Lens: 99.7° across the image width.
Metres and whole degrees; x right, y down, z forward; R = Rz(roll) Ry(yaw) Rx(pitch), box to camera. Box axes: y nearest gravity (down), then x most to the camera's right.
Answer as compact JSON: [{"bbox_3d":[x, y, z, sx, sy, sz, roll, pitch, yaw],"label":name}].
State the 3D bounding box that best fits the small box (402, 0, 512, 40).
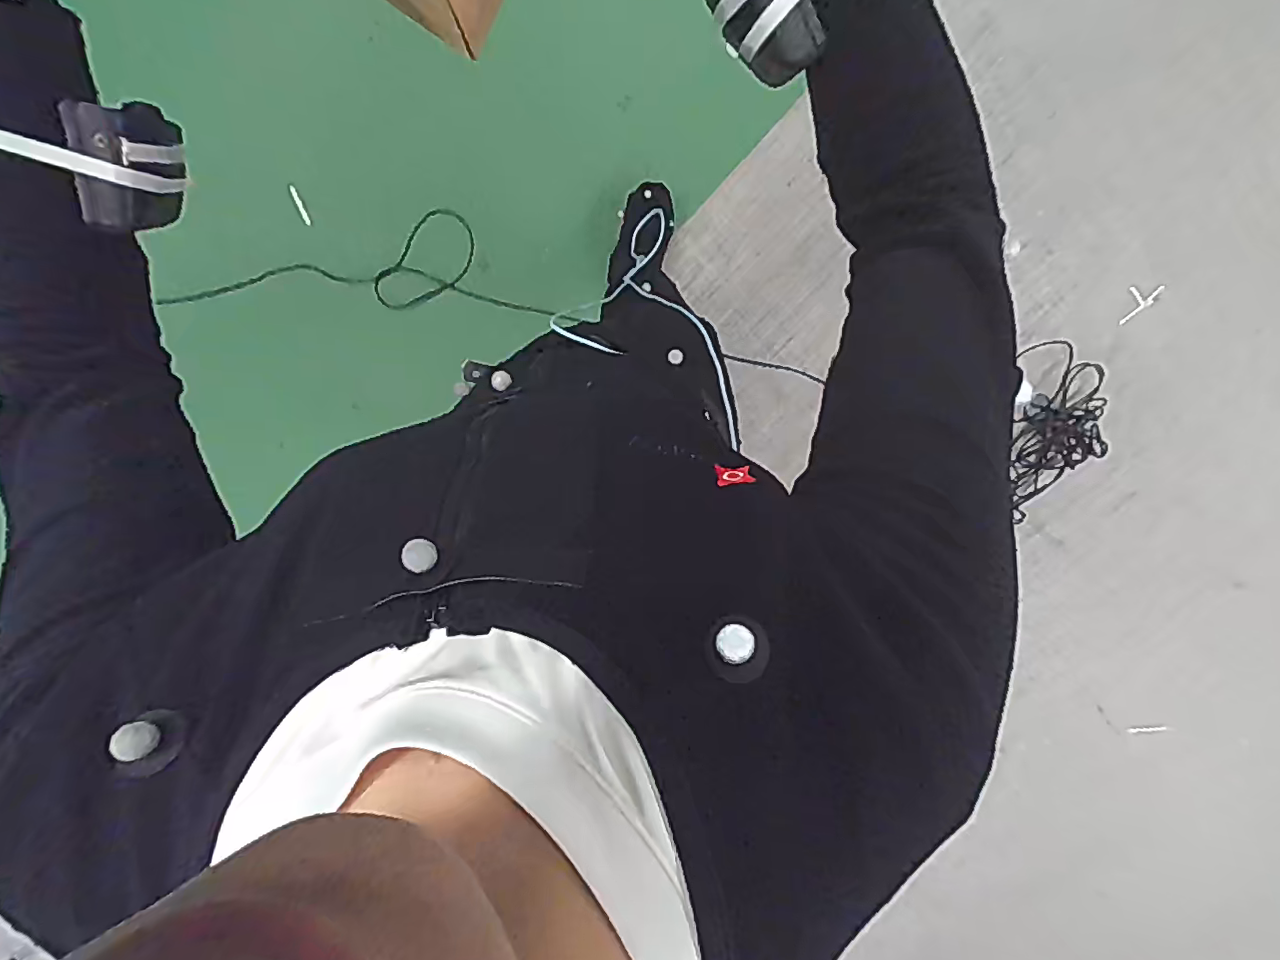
[{"bbox_3d":[-0.134,-0.381,0.273,0.179,0.176,0.168,28,104,-16],"label":"small box"}]
